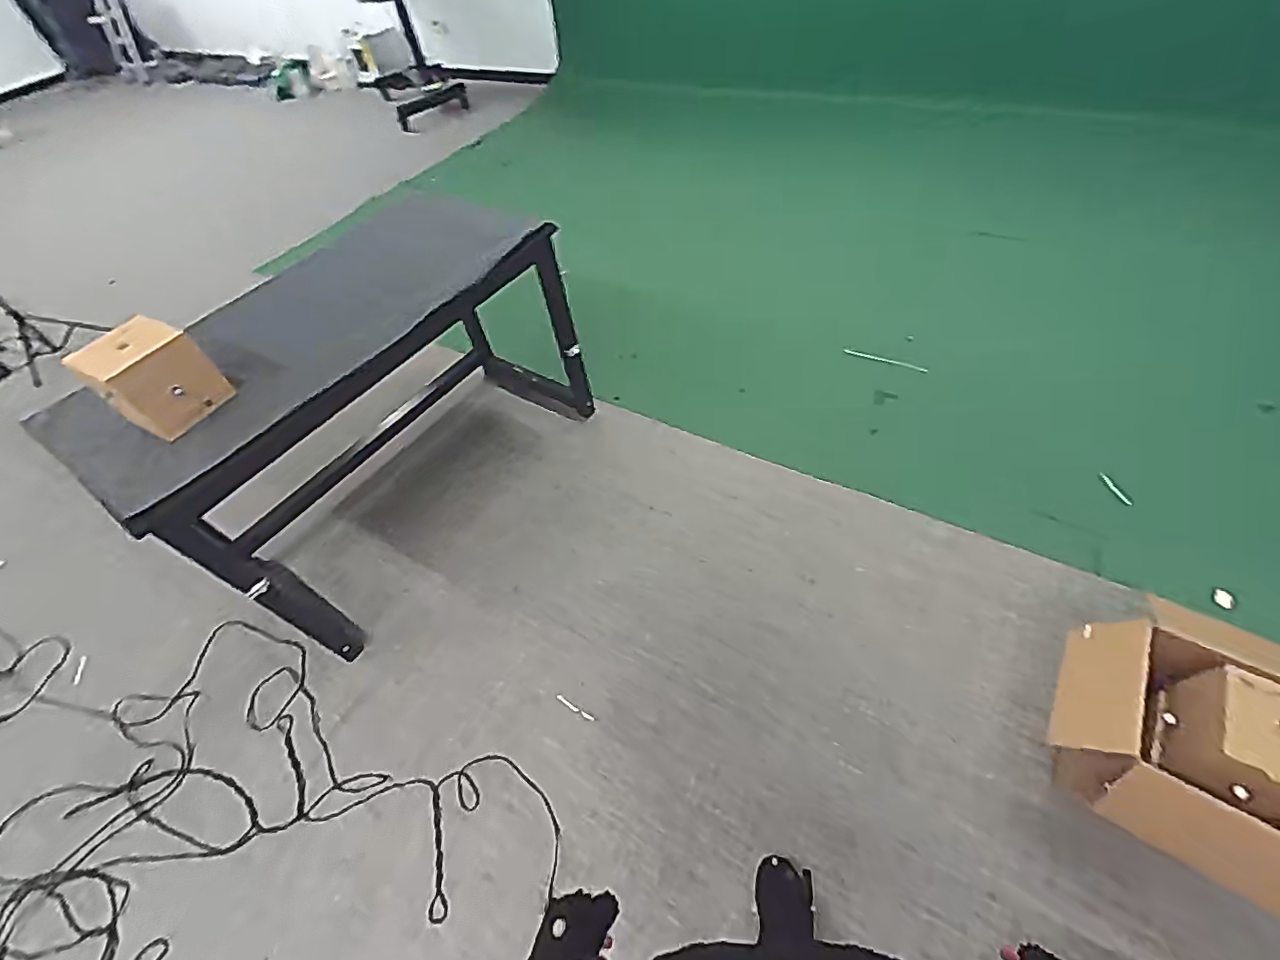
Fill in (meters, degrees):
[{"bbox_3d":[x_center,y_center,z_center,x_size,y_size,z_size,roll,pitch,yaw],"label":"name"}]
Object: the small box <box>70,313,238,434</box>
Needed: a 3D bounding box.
[{"bbox_3d":[-1.011,-0.221,1.142,0.179,0.176,0.168,20,56,23],"label":"small box"}]
